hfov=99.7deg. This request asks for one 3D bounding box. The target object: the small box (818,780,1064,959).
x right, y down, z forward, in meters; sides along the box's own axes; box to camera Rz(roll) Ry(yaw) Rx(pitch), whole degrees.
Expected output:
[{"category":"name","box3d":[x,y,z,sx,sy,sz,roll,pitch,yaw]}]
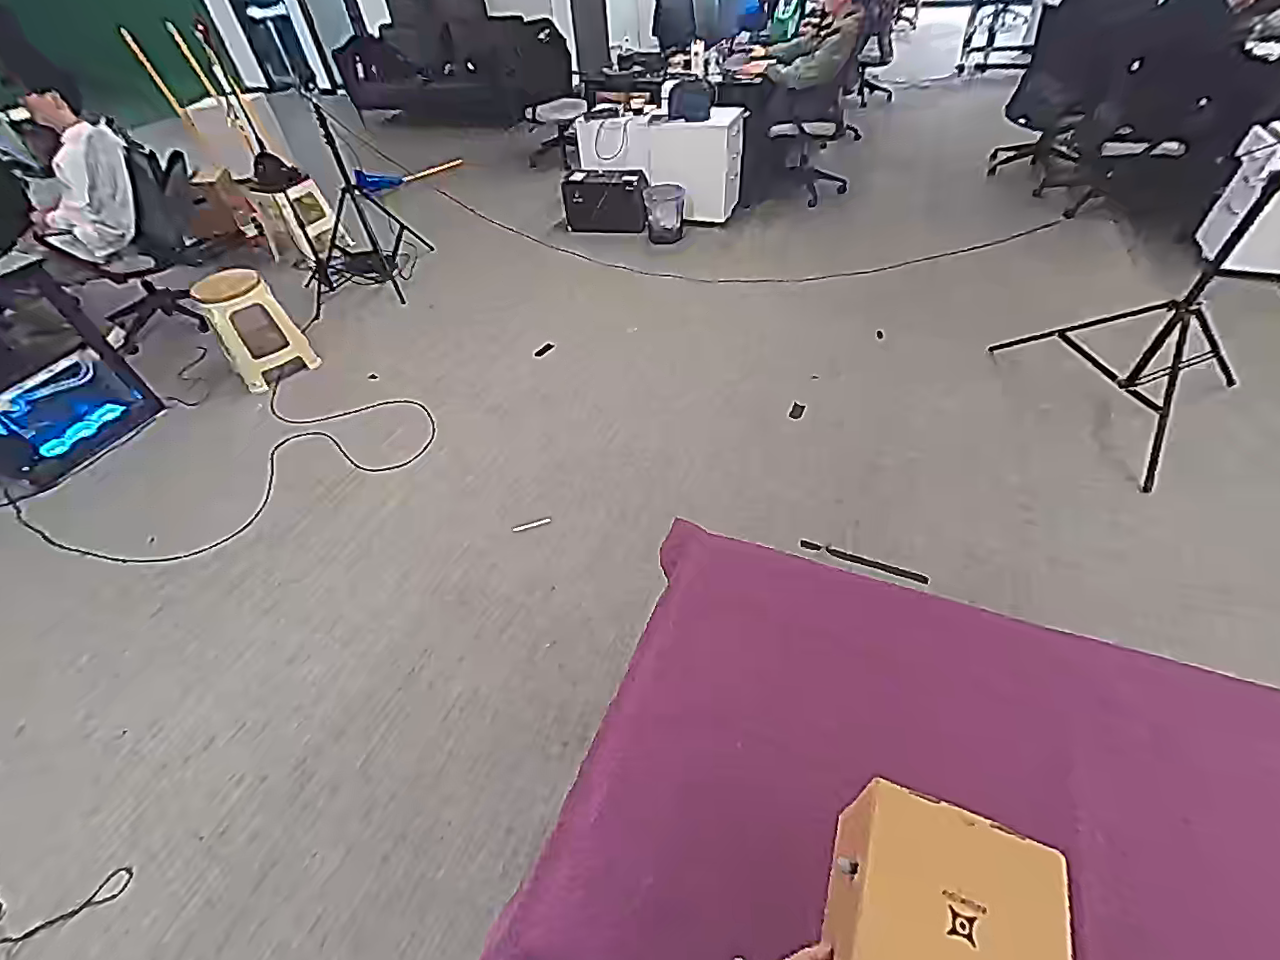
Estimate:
[{"category":"small box","box3d":[0.282,0.440,0.530,0.168,0.176,0.179,16,48,18]}]
